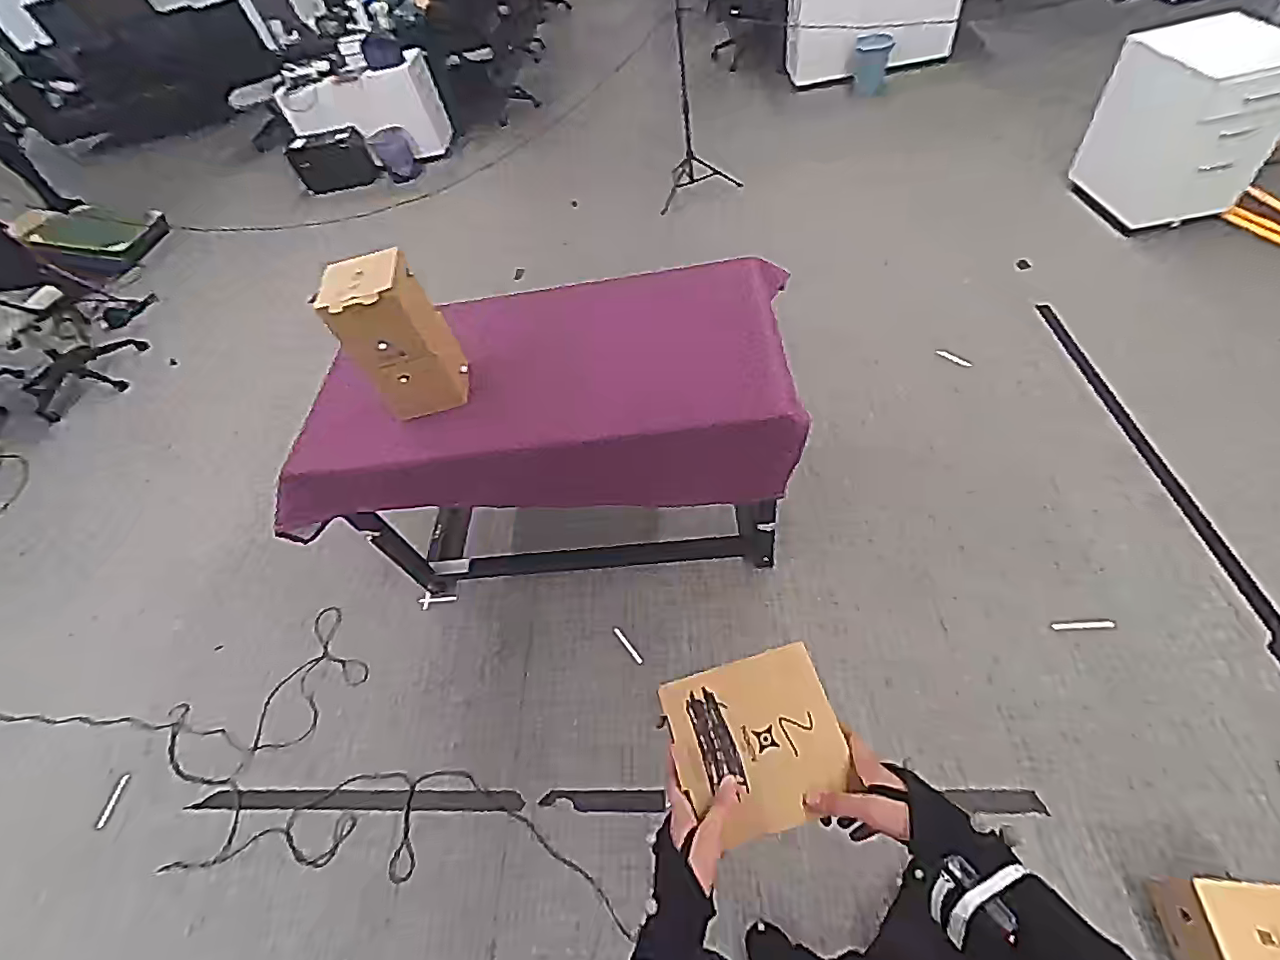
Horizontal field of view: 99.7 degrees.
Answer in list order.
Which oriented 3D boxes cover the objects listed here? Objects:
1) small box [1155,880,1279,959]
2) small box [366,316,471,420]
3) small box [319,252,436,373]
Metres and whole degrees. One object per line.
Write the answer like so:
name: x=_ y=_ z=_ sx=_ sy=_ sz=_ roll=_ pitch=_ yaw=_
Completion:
small box: x=1.152 y=0.879 z=1.036 sx=0.179 sy=0.176 sz=0.168 roll=-2 pitch=54 yaw=10
small box: x=-0.533 y=-0.269 z=1.325 sx=0.179 sy=0.176 sz=0.168 roll=-14 pitch=53 yaw=1
small box: x=-0.570 y=-0.369 z=1.199 sx=0.168 sy=0.176 sz=0.179 roll=-15 pitch=52 yaw=1
